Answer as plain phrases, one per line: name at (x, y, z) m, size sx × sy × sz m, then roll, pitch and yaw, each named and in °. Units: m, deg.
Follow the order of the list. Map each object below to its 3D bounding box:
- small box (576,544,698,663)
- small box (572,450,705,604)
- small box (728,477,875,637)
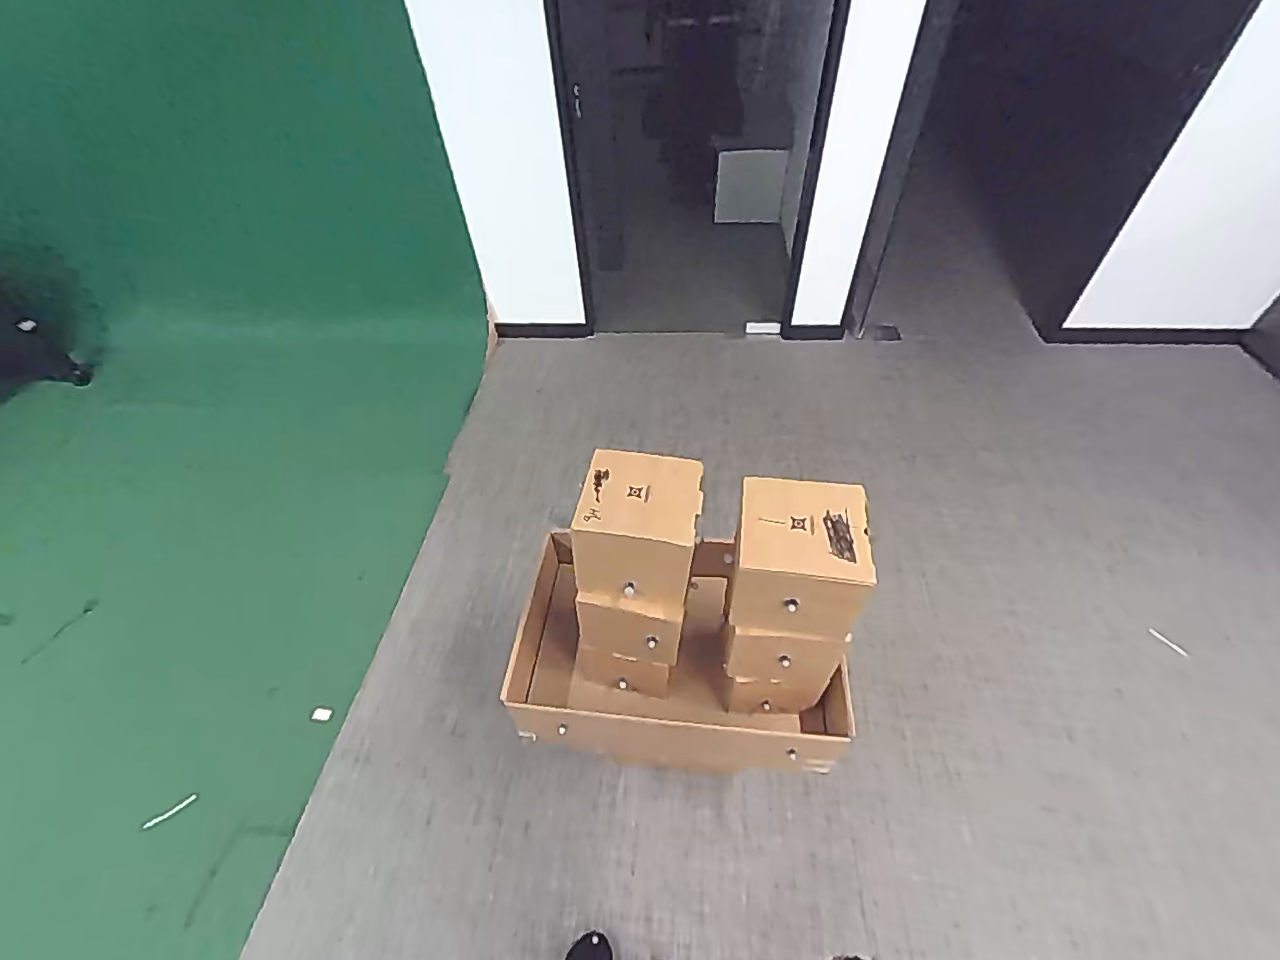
small box at (-0.002, 0.204, 0.961) m, size 0.179 × 0.176 × 0.168 m, roll 10°, pitch 48°, yaw 8°
small box at (0.000, 0.078, 0.856) m, size 0.179 × 0.176 × 0.168 m, roll 9°, pitch 47°, yaw 5°
small box at (0.230, 0.117, 0.805) m, size 0.179 × 0.176 × 0.168 m, roll 5°, pitch 49°, yaw 9°
